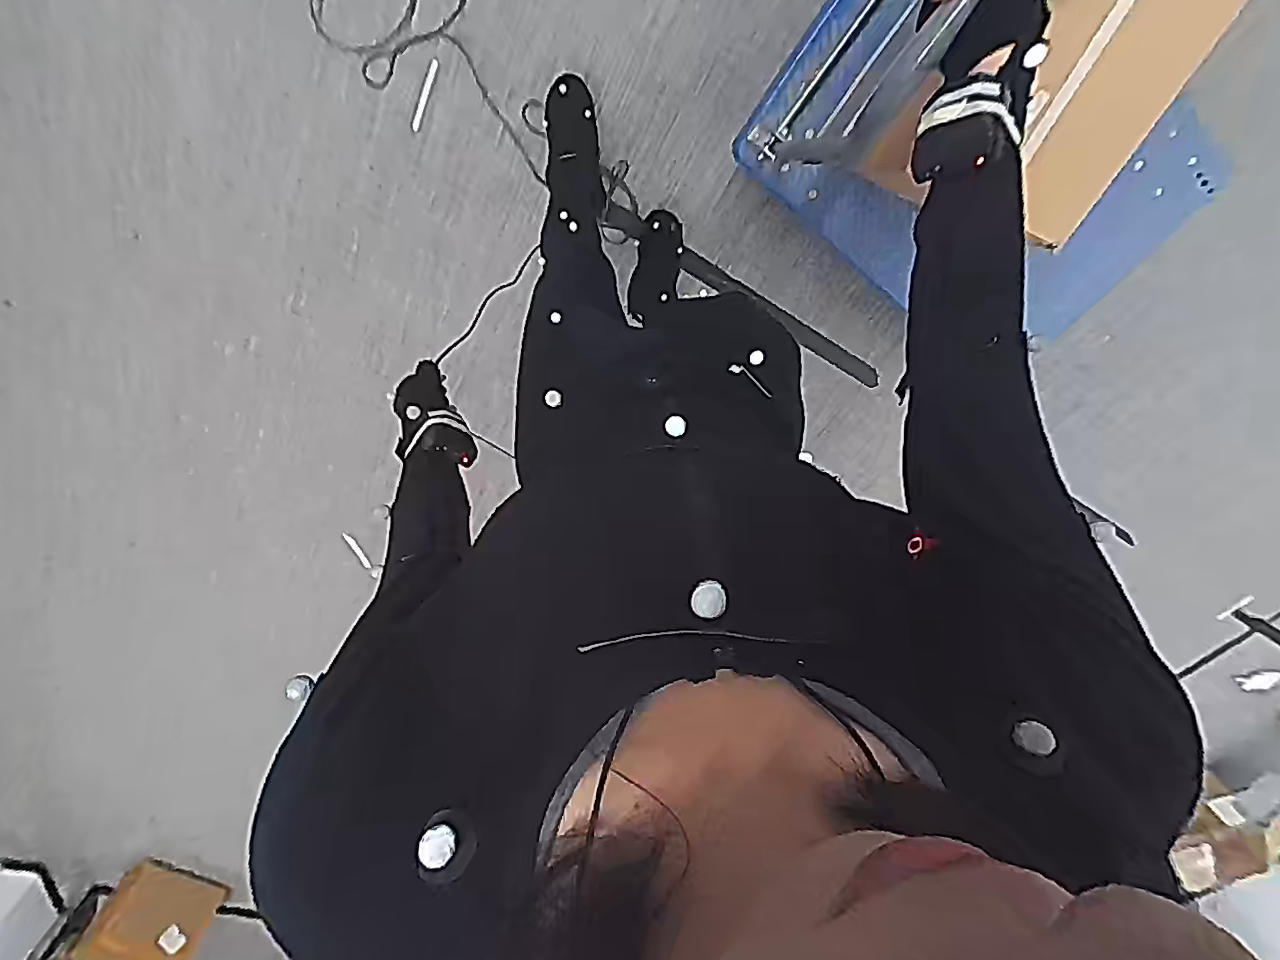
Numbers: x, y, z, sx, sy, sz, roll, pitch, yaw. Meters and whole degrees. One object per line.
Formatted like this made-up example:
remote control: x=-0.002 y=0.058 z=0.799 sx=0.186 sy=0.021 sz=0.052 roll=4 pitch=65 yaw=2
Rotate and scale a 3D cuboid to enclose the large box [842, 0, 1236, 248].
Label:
large box: x=0.612 y=-0.666 z=0.890 sx=0.320 sy=0.320 sz=0.408 roll=18 pitch=121 yaw=-12
